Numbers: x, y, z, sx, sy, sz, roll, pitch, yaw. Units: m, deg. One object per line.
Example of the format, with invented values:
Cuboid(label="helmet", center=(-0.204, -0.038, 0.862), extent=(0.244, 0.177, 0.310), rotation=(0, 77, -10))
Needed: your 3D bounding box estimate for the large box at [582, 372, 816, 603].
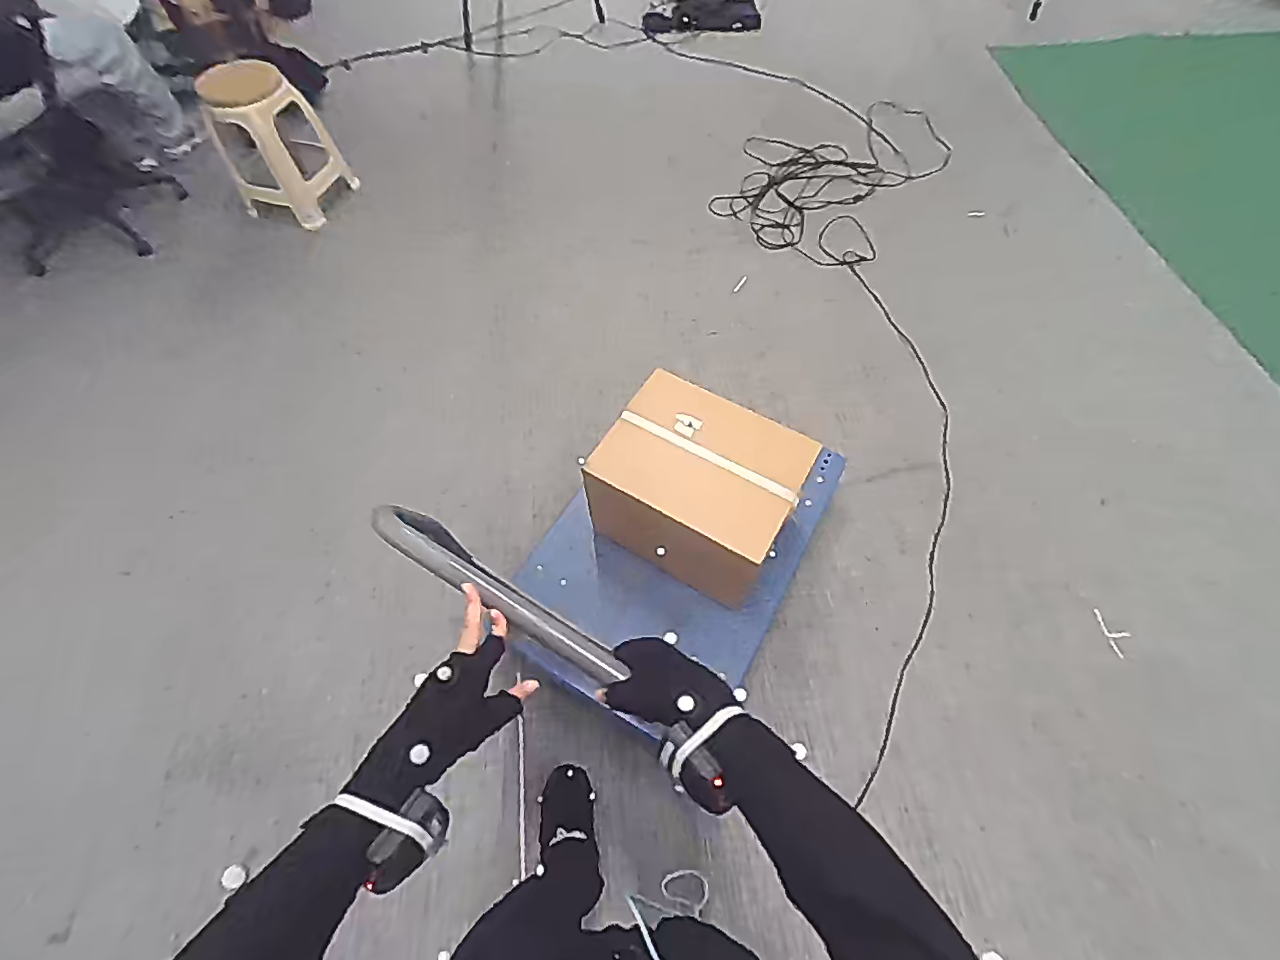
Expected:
Cuboid(label="large box", center=(0.131, 0.023, 1.252), extent=(0.408, 0.320, 0.320), rotation=(28, 64, 16))
